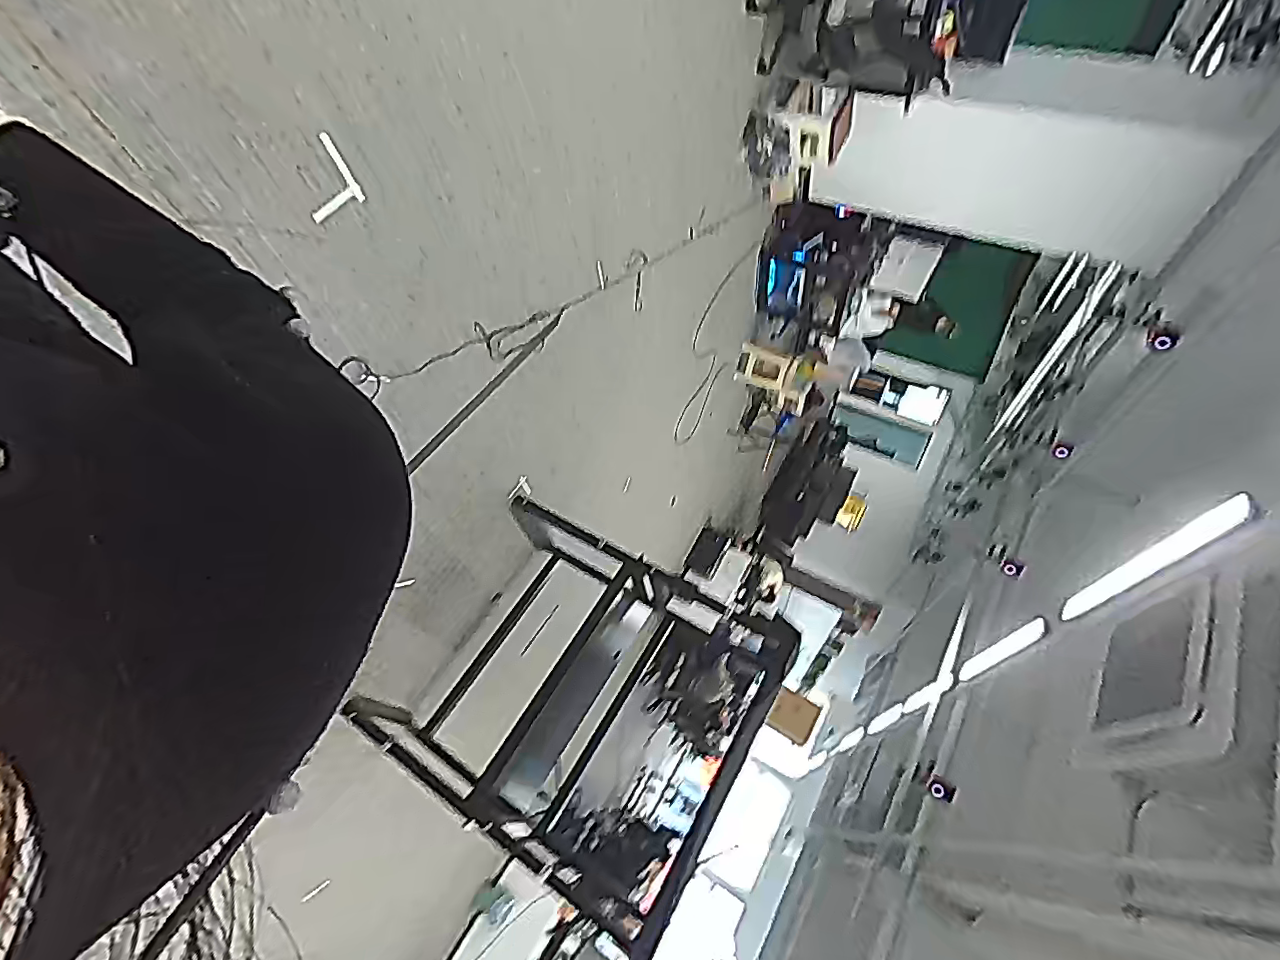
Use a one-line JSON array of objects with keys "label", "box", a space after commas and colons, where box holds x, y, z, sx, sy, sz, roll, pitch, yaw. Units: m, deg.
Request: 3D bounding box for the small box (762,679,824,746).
[{"label": "small box", "box": [0.586, 0.896, 2.090, 0.168, 0.176, 0.179, -53, 158, -24]}]
